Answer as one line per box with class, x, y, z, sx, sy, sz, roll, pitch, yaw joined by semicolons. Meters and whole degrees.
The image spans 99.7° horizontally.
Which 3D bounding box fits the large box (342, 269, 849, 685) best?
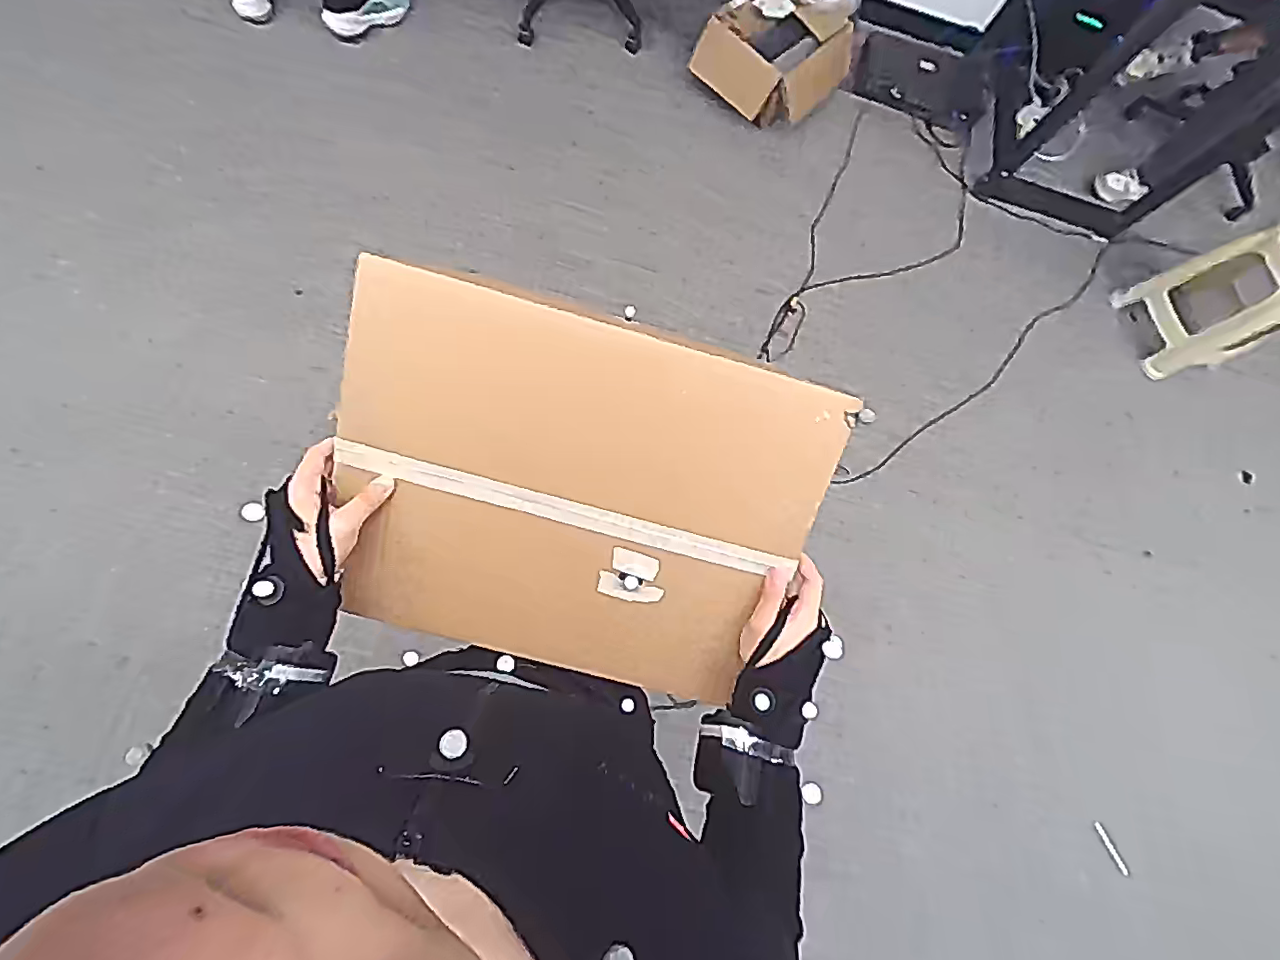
large box;-0.055;-0.025;0.620;0.408;0.320;0.320;14;108;-5
